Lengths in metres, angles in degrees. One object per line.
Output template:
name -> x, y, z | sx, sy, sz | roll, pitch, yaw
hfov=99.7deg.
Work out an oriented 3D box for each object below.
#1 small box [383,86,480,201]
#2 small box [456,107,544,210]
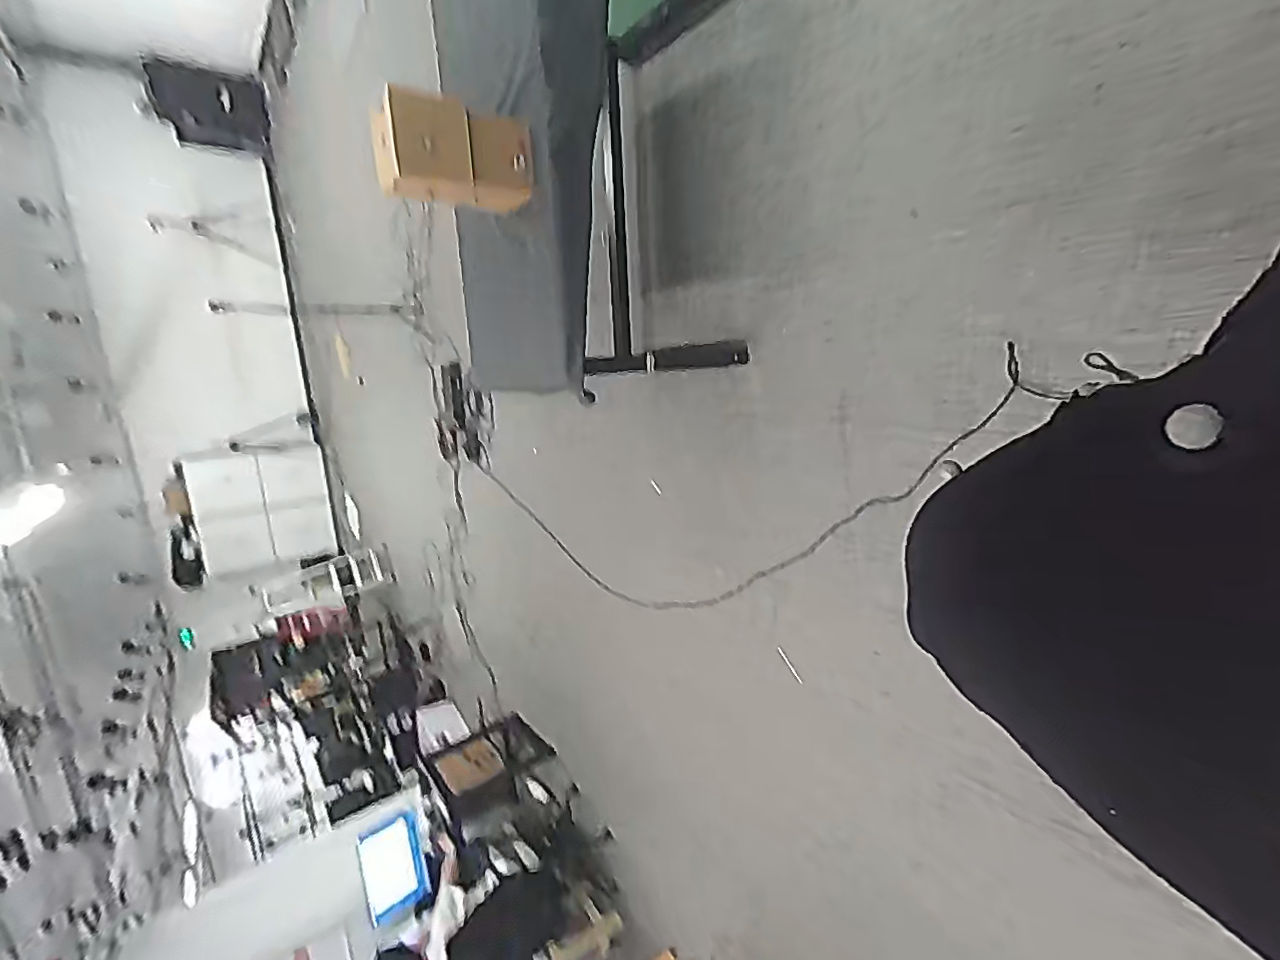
small box -> -0.477, -0.761, 1.247 | 0.168, 0.176, 0.179 | 11, 108, 54
small box -> -0.359, -0.791, 1.353 | 0.179, 0.176, 0.168 | 10, 108, 51
